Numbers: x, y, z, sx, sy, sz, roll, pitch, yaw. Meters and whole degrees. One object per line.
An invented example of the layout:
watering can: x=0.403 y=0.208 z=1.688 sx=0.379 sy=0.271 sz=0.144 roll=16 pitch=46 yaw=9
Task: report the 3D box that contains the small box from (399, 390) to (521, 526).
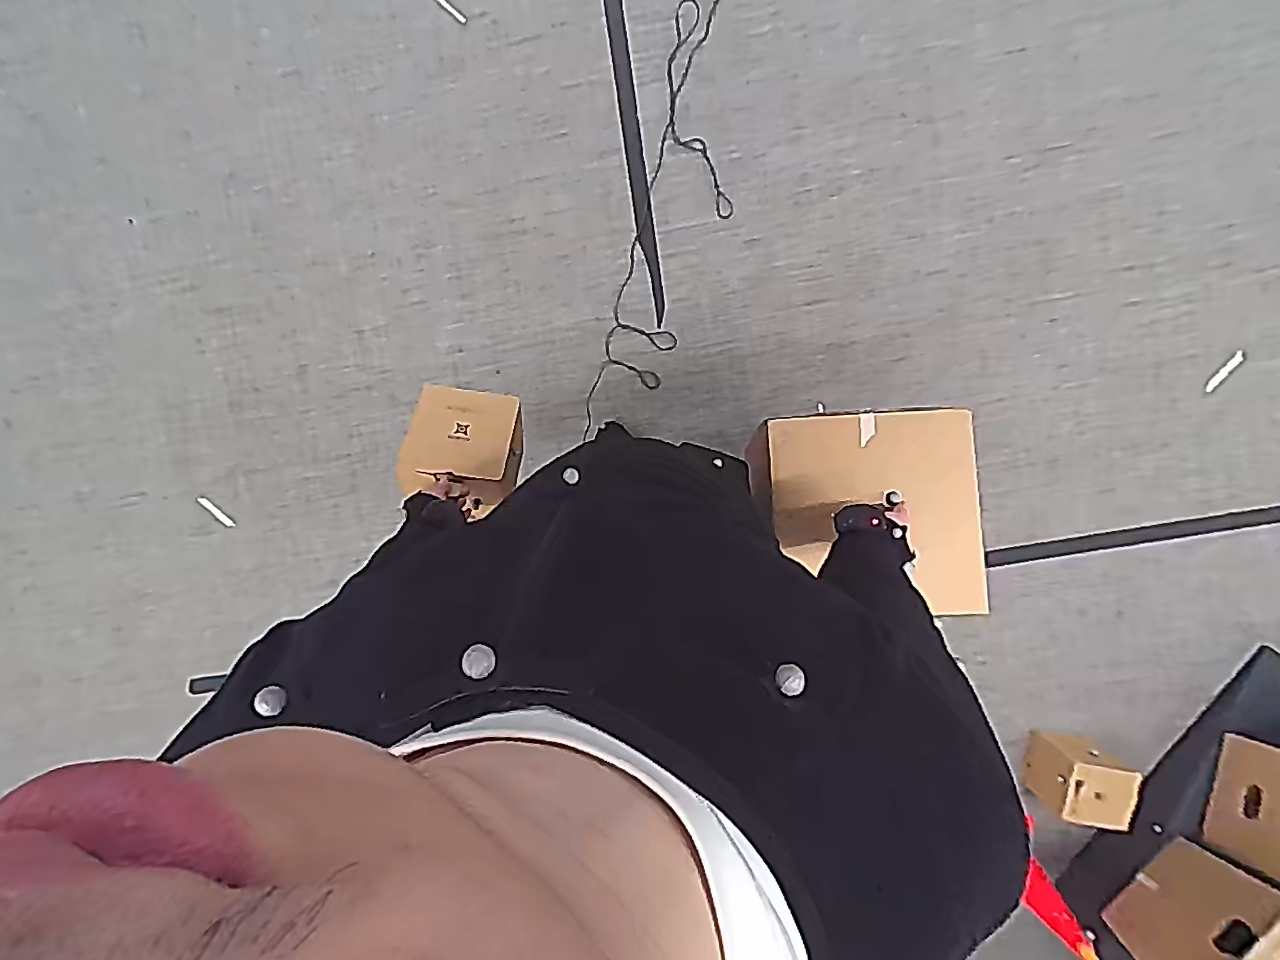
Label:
small box: x=-0.310 y=-0.033 z=0.973 sx=0.168 sy=0.176 sz=0.179 roll=8 pitch=57 yaw=-7
